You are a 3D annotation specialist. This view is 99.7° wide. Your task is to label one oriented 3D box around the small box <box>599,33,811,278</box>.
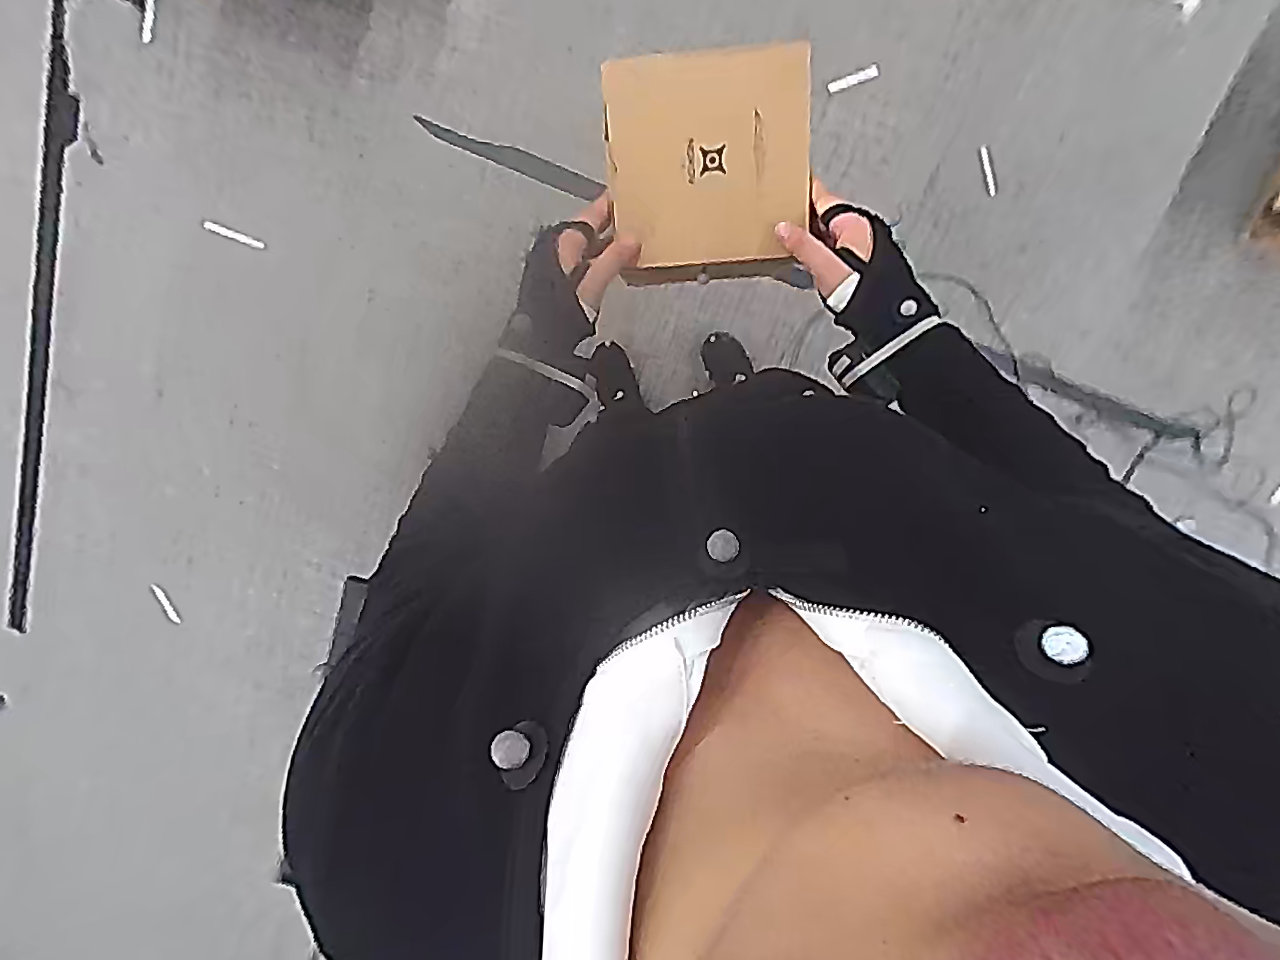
[{"bbox_3d":[0.059,-0.300,0.539,0.179,0.176,0.168,-4,105,2],"label":"small box"}]
